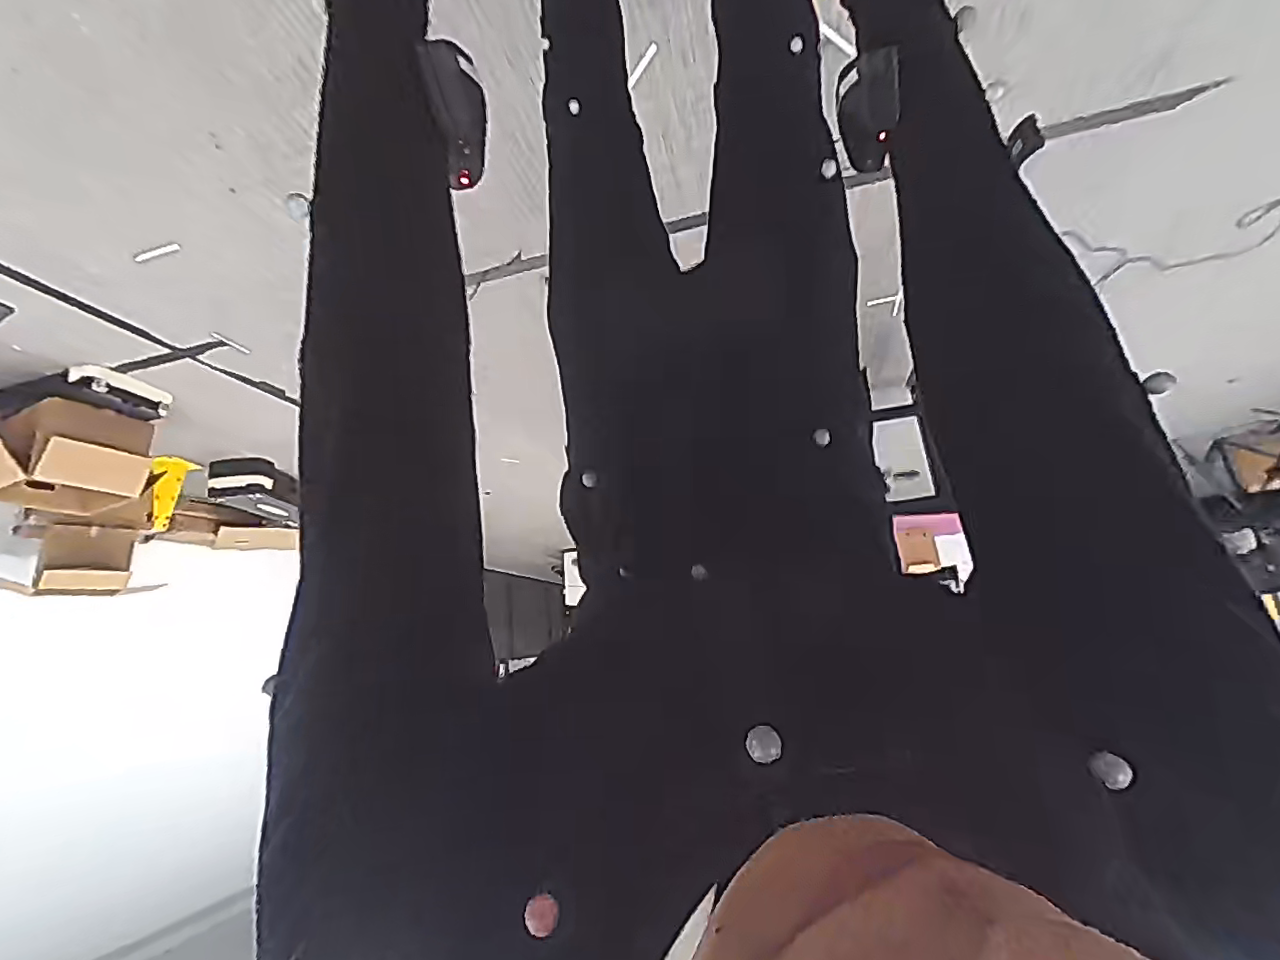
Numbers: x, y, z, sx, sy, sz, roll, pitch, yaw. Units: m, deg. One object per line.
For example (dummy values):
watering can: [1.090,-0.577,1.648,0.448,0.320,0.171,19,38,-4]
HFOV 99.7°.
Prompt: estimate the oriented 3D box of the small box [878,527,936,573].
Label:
small box: [1.147,0.300,2.341,0.168,0.176,0.179,-7,163,7]
